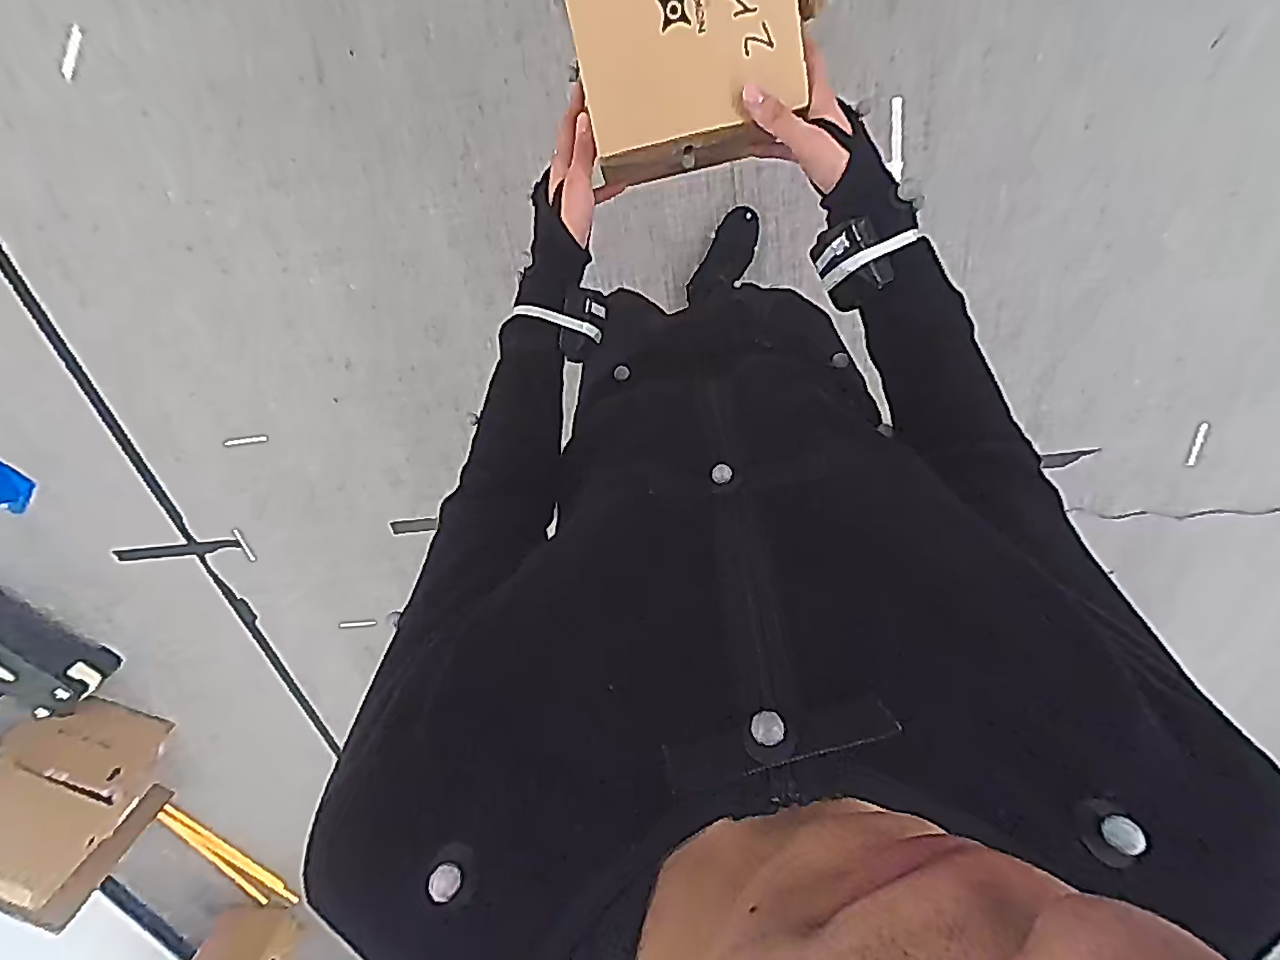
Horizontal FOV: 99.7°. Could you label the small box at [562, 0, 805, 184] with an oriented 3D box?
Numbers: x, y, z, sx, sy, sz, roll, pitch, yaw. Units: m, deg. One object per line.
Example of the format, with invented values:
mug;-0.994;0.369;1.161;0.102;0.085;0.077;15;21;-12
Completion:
small box;0.030;-0.385;0.486;0.179;0.176;0.168;-12;110;3
